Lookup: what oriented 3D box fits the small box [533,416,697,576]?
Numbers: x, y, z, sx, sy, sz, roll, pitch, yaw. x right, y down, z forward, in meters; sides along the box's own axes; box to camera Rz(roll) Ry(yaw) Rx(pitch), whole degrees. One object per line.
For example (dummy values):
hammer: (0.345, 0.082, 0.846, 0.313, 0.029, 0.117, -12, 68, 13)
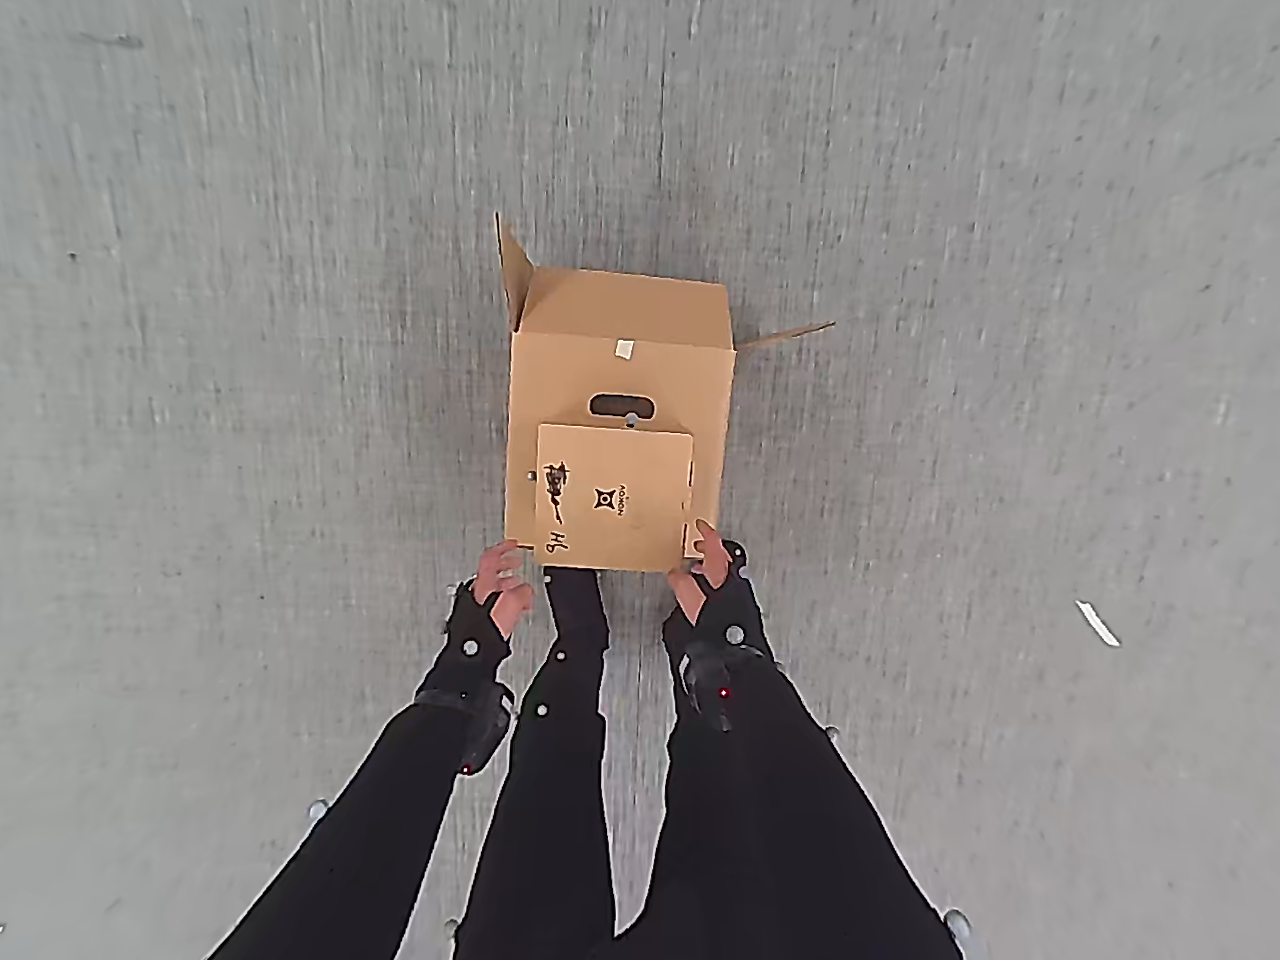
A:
small box: (-0.033, 0.011, 0.685, 0.179, 0.176, 0.168, 4, 101, -3)
